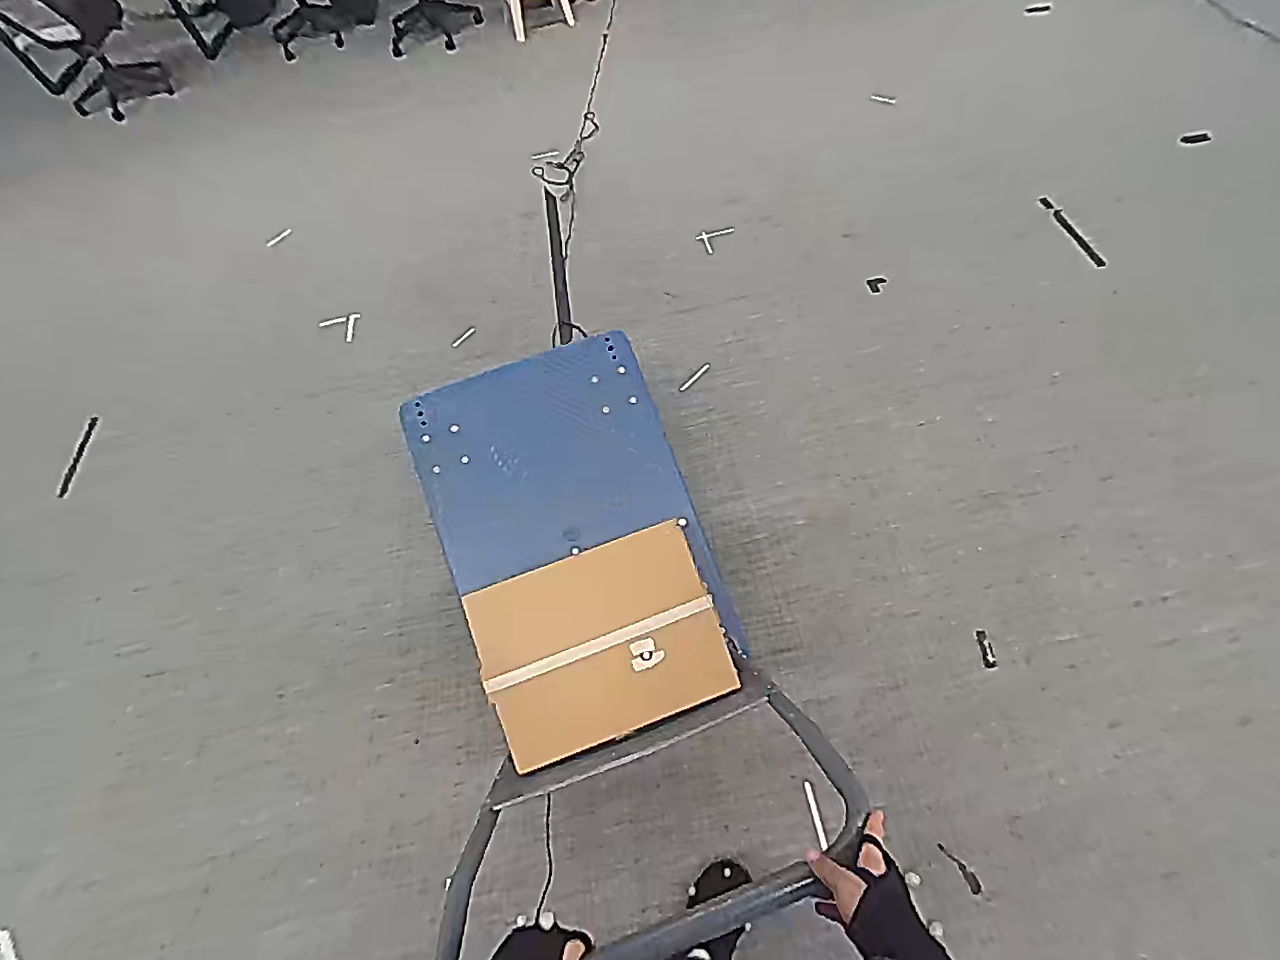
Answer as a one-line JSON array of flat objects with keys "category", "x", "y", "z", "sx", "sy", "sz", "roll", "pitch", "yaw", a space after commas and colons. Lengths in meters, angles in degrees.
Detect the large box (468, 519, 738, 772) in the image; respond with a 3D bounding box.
[{"category": "large box", "x": -0.073, "y": 0.303, "z": 1.089, "sx": 0.408, "sy": 0.320, "sz": 0.320, "roll": -21, "pitch": 84, "yaw": -6}]
